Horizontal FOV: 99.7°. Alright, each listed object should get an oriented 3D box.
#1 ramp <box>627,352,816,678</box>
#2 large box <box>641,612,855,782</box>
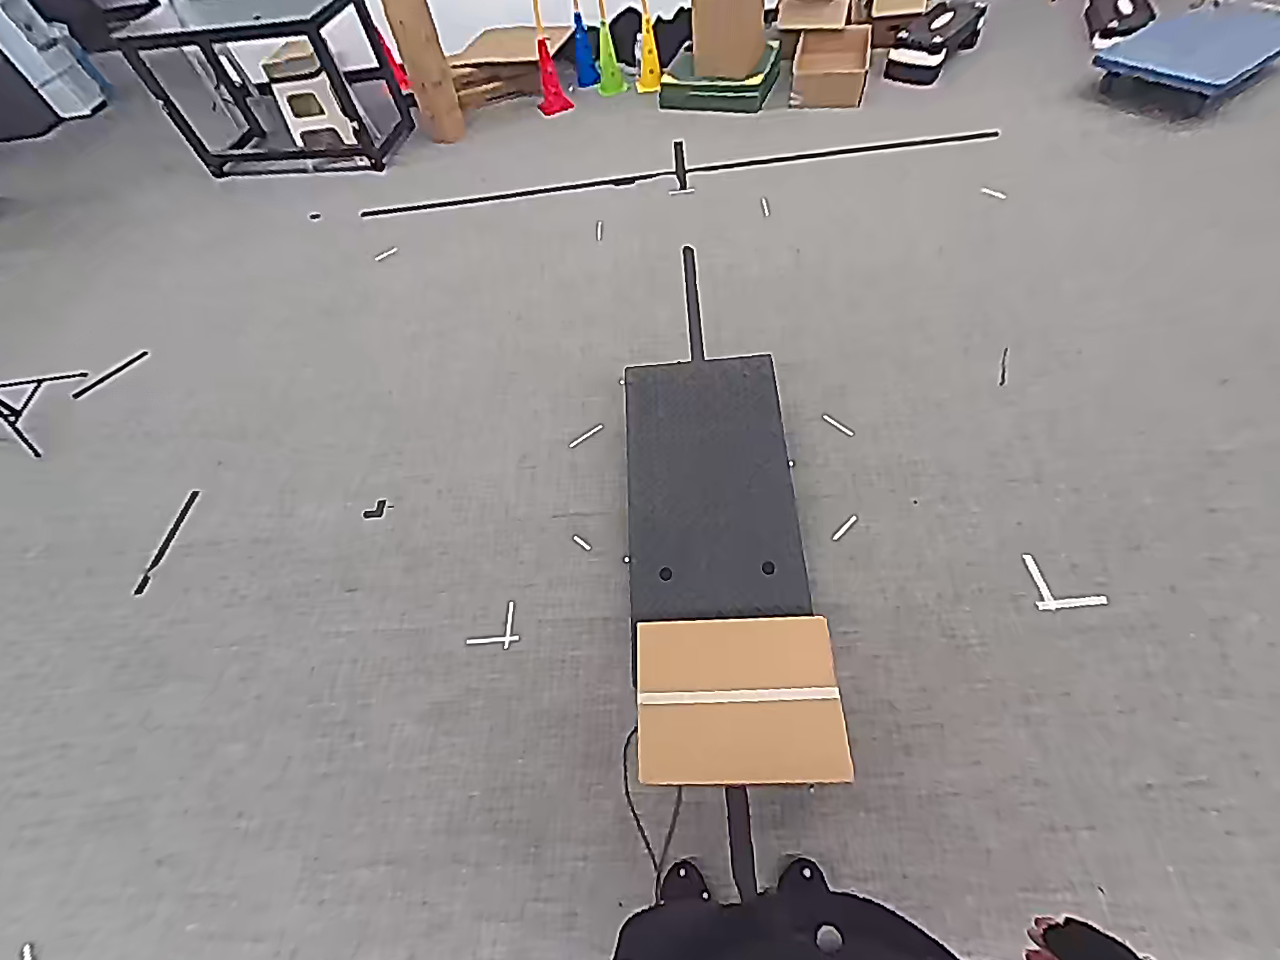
[{"bbox_3d":[0.218,0.053,1.611,0.509,0.206,0.991,-5,56,3],"label":"ramp"},{"bbox_3d":[0.222,0.505,1.231,0.408,0.320,0.320,-4,60,5],"label":"large box"}]
